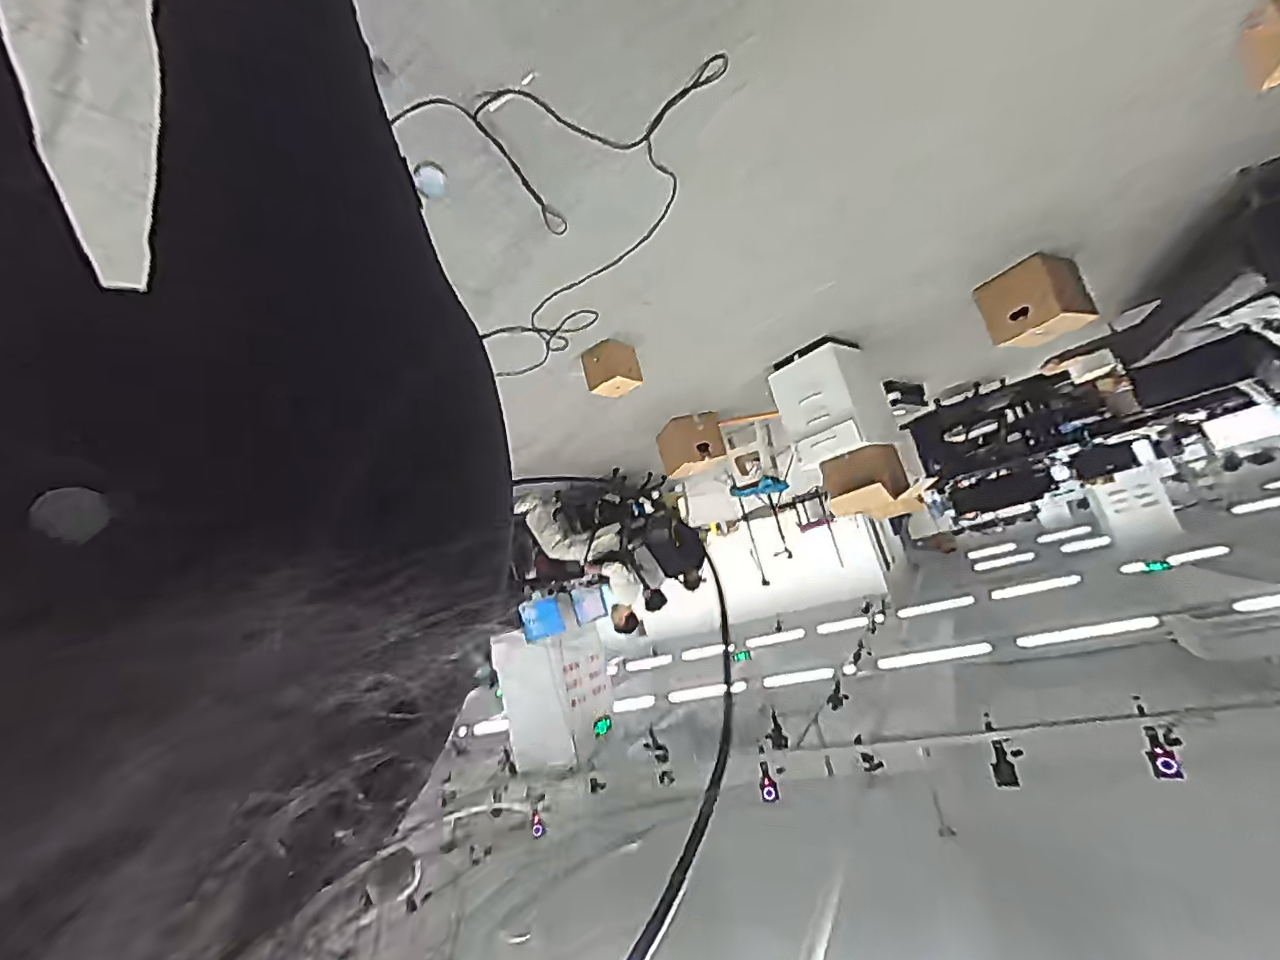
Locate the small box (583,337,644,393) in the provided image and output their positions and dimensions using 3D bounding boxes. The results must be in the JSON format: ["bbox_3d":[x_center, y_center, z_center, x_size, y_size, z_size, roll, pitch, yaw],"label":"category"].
[{"bbox_3d":[-0.112,-0.481,2.267,0.168,0.176,0.179,-23,167,35],"label":"small box"}]

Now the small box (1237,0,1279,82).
[{"bbox_3d":[1.655,-1.154,1.331,0.179,0.176,0.168,-19,168,26],"label":"small box"}]
